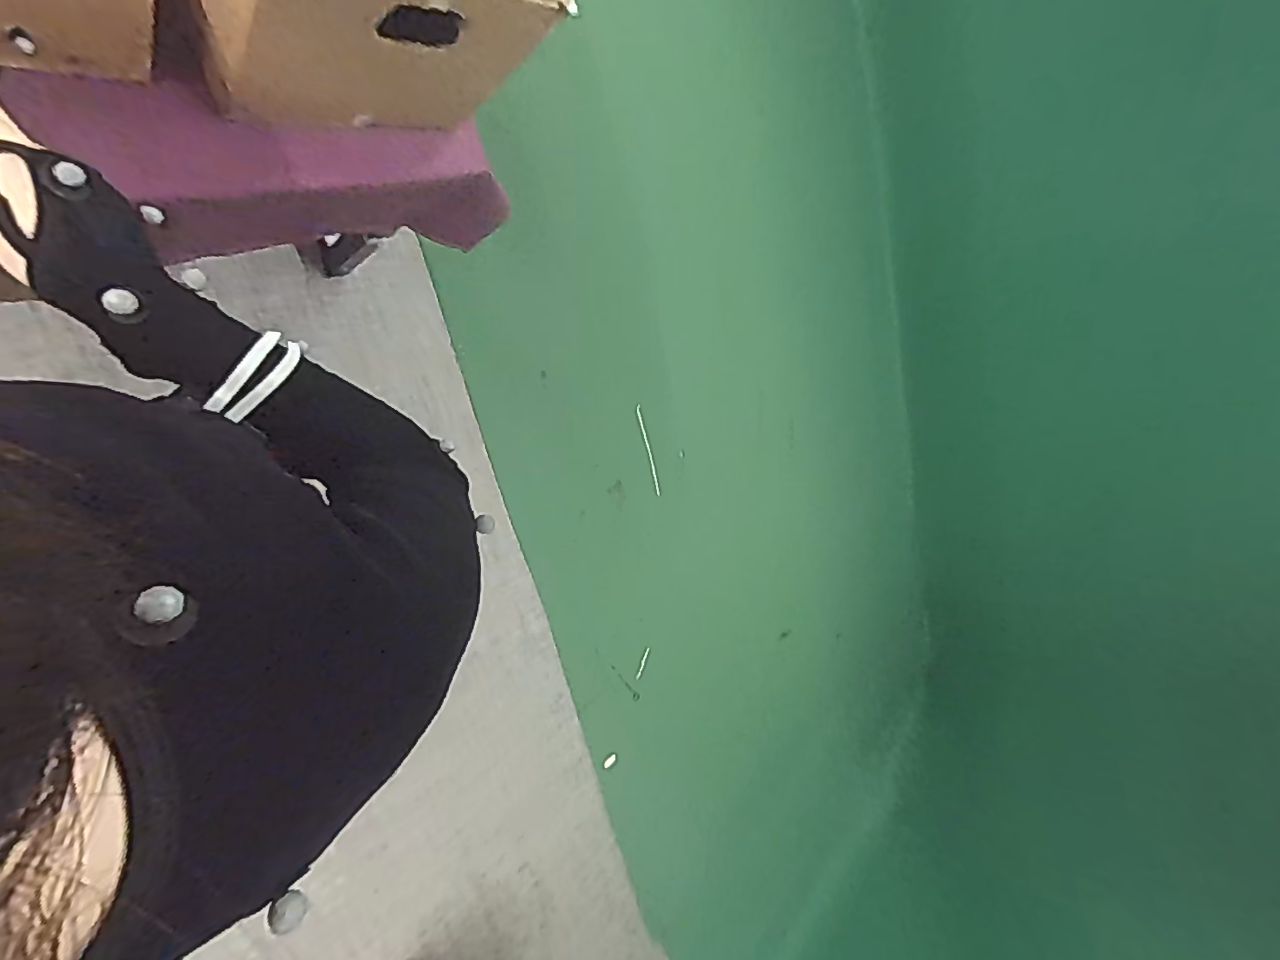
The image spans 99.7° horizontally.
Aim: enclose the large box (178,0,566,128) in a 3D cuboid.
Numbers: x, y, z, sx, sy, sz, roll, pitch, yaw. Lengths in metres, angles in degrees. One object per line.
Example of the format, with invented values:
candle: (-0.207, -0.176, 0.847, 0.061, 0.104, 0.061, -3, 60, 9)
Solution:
large box: (-0.341, -0.669, 0.582, 0.320, 0.320, 0.408, -29, 112, -39)
